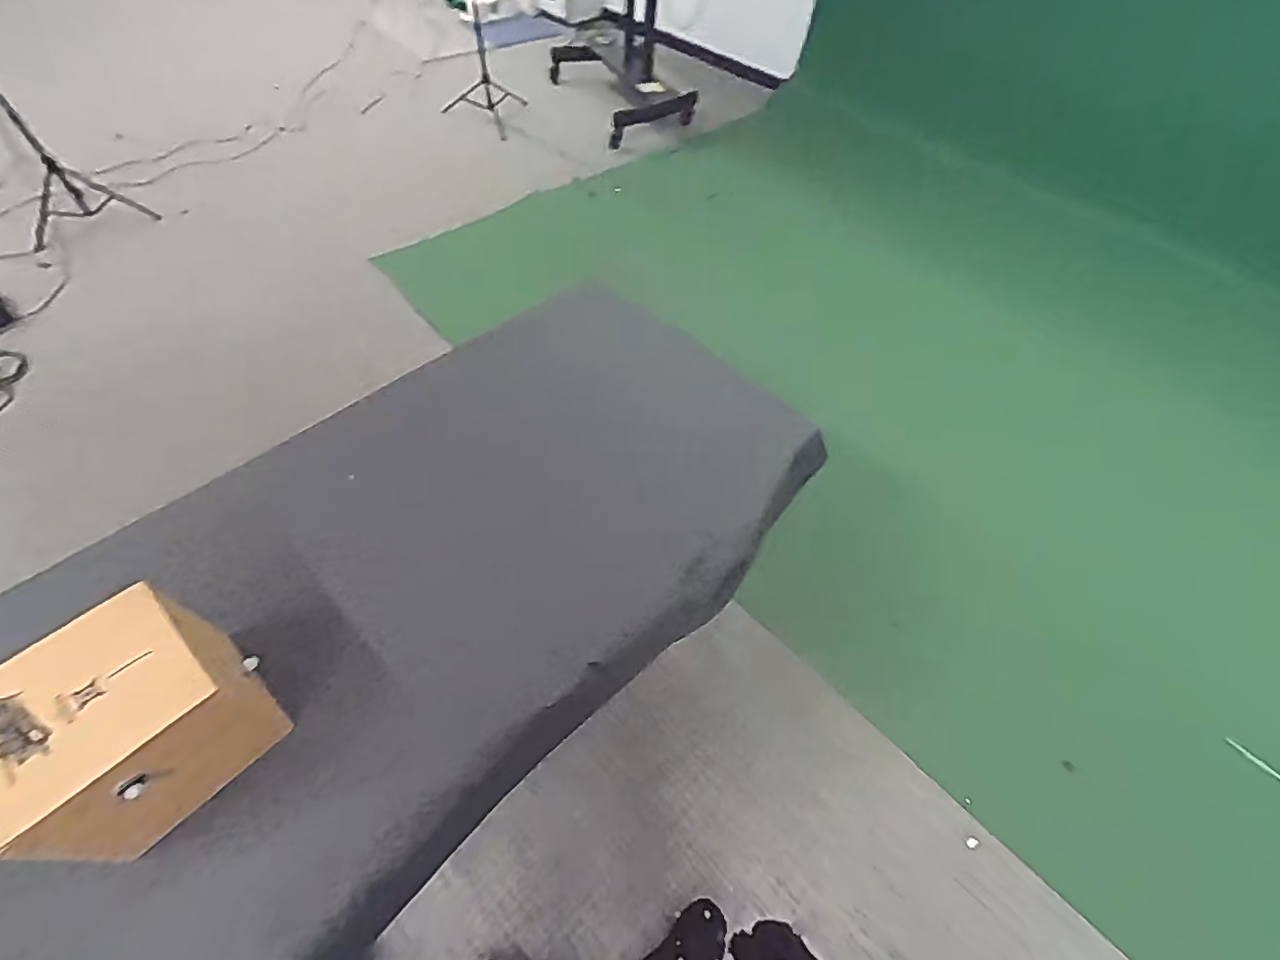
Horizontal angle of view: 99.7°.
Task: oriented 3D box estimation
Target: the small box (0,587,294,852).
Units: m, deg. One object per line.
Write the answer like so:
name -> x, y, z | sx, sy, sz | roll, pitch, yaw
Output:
small box -> -0.515, 0.254, 0.566 | 0.168, 0.176, 0.179 | 37, 59, 20
